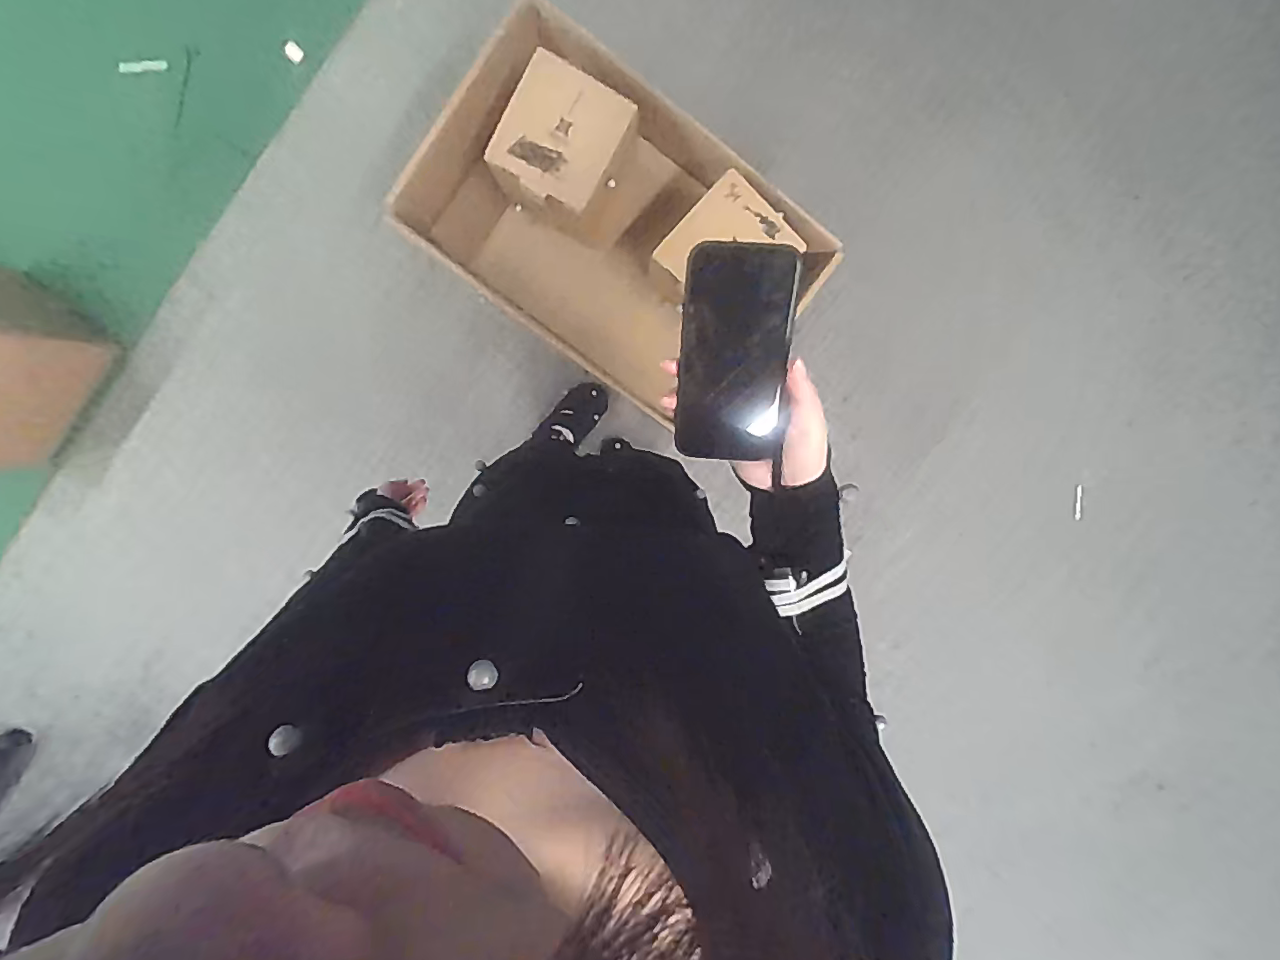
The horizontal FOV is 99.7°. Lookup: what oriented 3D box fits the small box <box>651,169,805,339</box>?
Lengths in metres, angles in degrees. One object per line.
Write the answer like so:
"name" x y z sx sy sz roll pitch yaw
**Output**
"small box" 0.135 -0.353 0.889 0.168 0.176 0.179 44 96 -6
